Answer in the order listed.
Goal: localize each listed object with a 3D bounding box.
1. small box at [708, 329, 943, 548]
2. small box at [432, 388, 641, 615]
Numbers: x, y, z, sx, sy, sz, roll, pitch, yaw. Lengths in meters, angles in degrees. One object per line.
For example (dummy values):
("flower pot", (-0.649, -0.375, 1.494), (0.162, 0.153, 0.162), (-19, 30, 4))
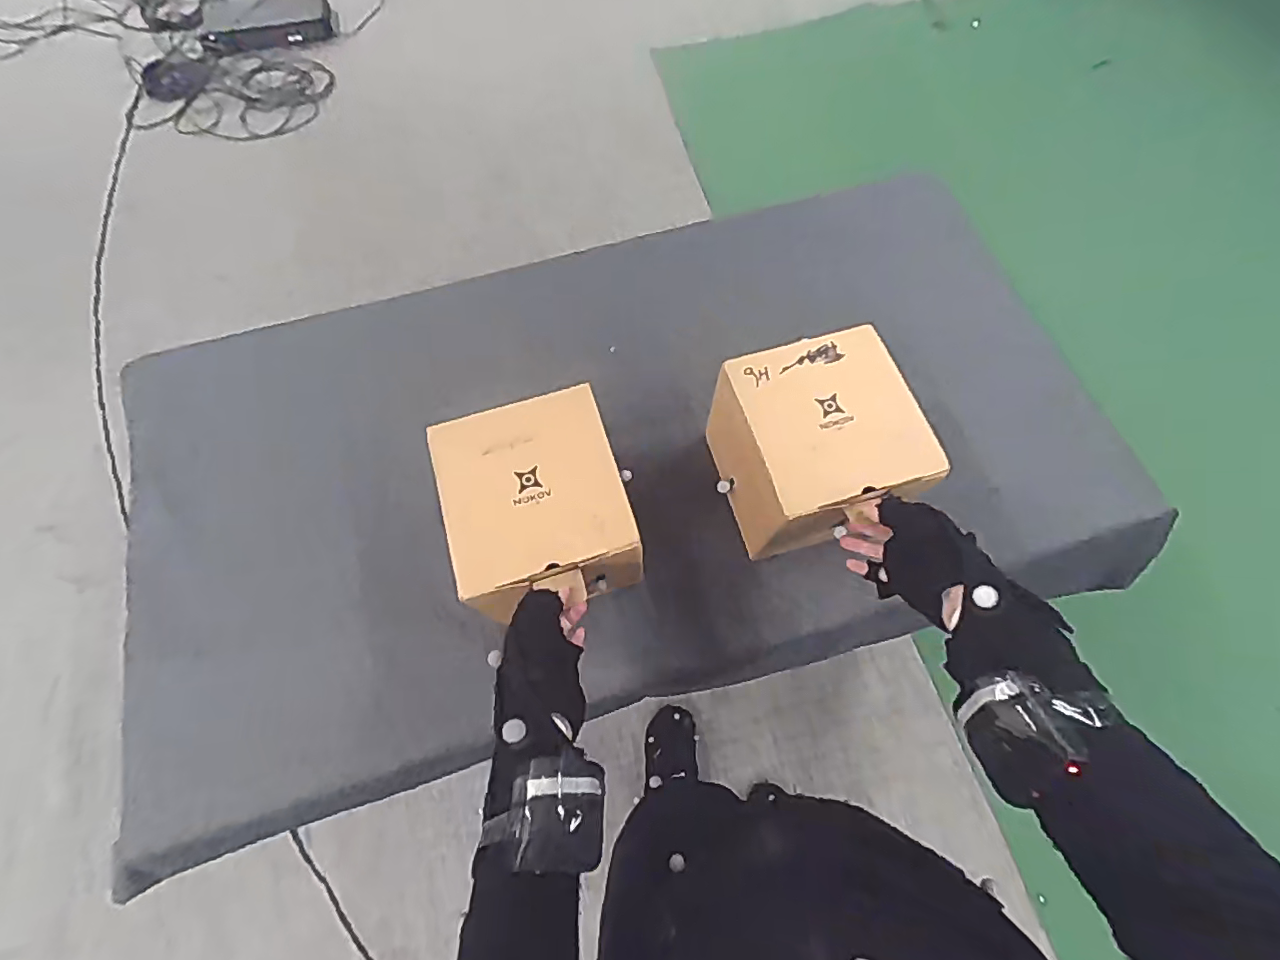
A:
("small box", (0.186, -0.033, 0.604), (0.168, 0.176, 0.179), (-15, 70, -7))
("small box", (-0.100, 0.035, 0.580), (0.168, 0.176, 0.179), (-17, 68, -8))
